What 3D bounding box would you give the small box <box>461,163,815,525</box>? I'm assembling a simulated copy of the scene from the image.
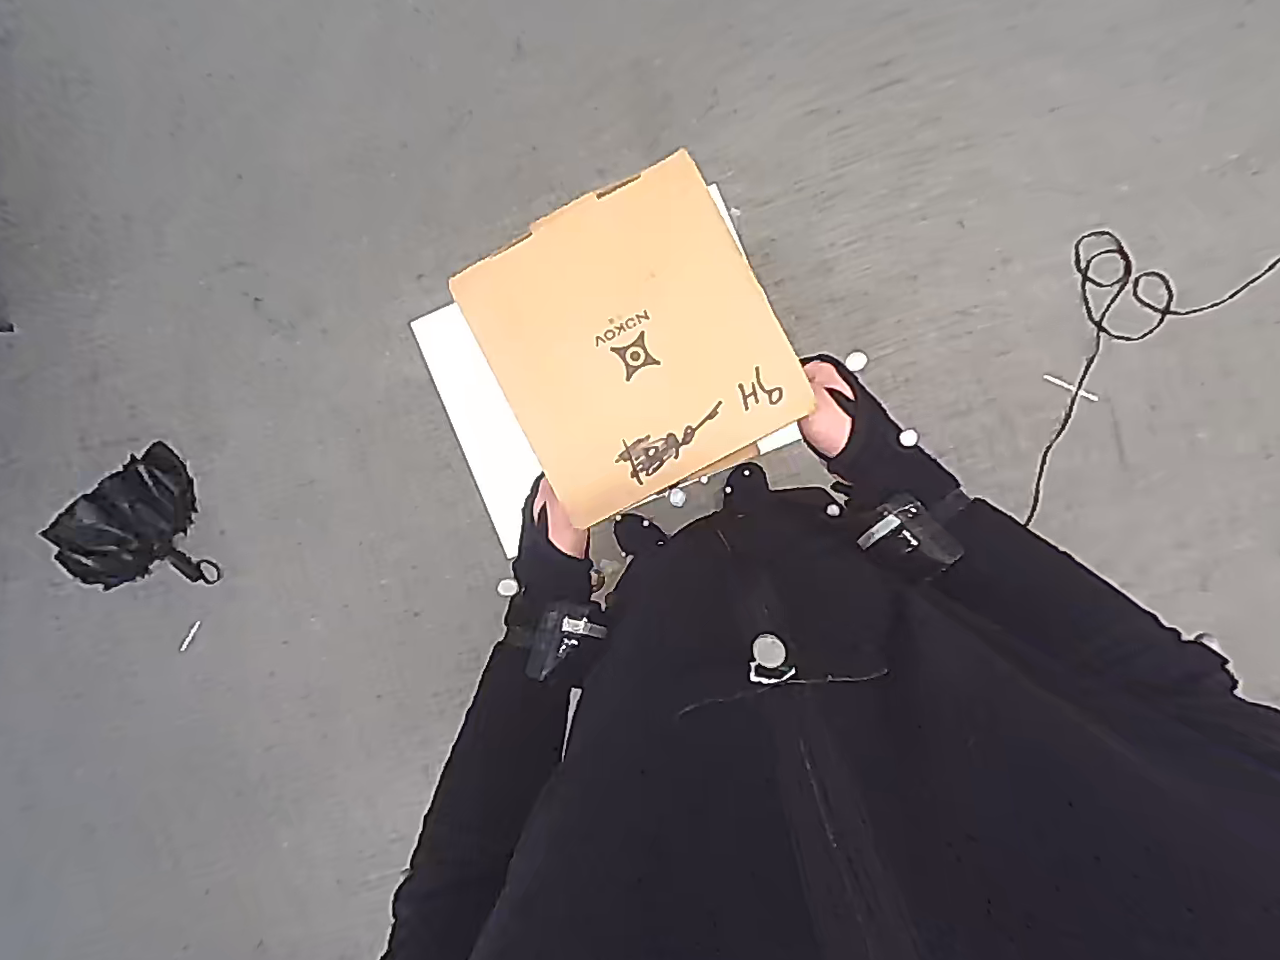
[{"bbox_3d":[0.001,-0.081,0.408,0.168,0.176,0.179,-27,88,4],"label":"small box"}]
